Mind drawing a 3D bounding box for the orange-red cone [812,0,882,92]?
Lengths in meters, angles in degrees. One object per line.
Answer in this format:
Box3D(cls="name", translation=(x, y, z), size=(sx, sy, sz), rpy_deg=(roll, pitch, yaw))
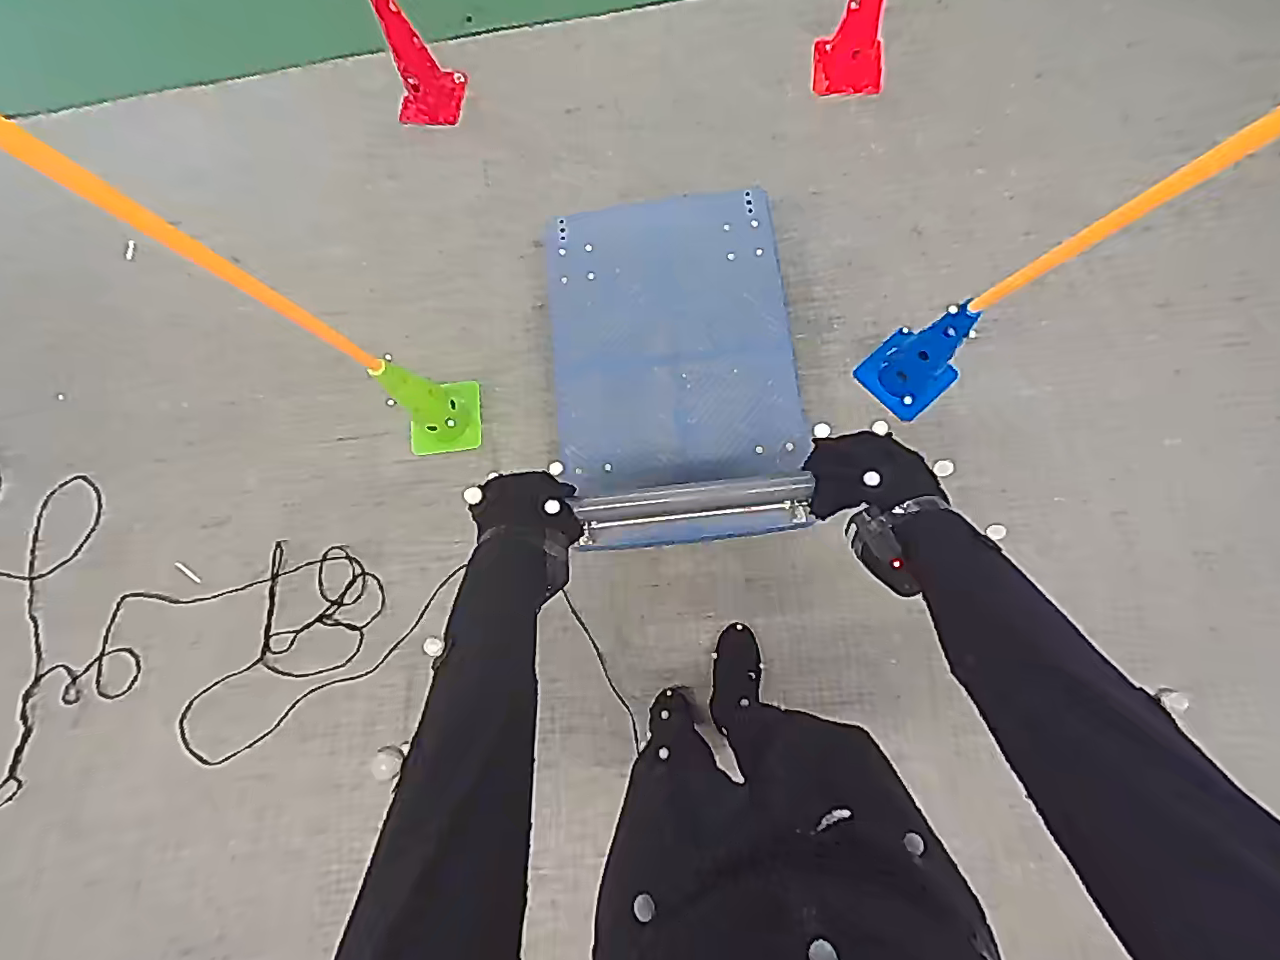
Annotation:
Box3D(cls="orange-red cone", translation=(0.596, -1.268, 1.439), size=(0.198, 0.360, 0.199), rpy_deg=(5, 80, 7))
